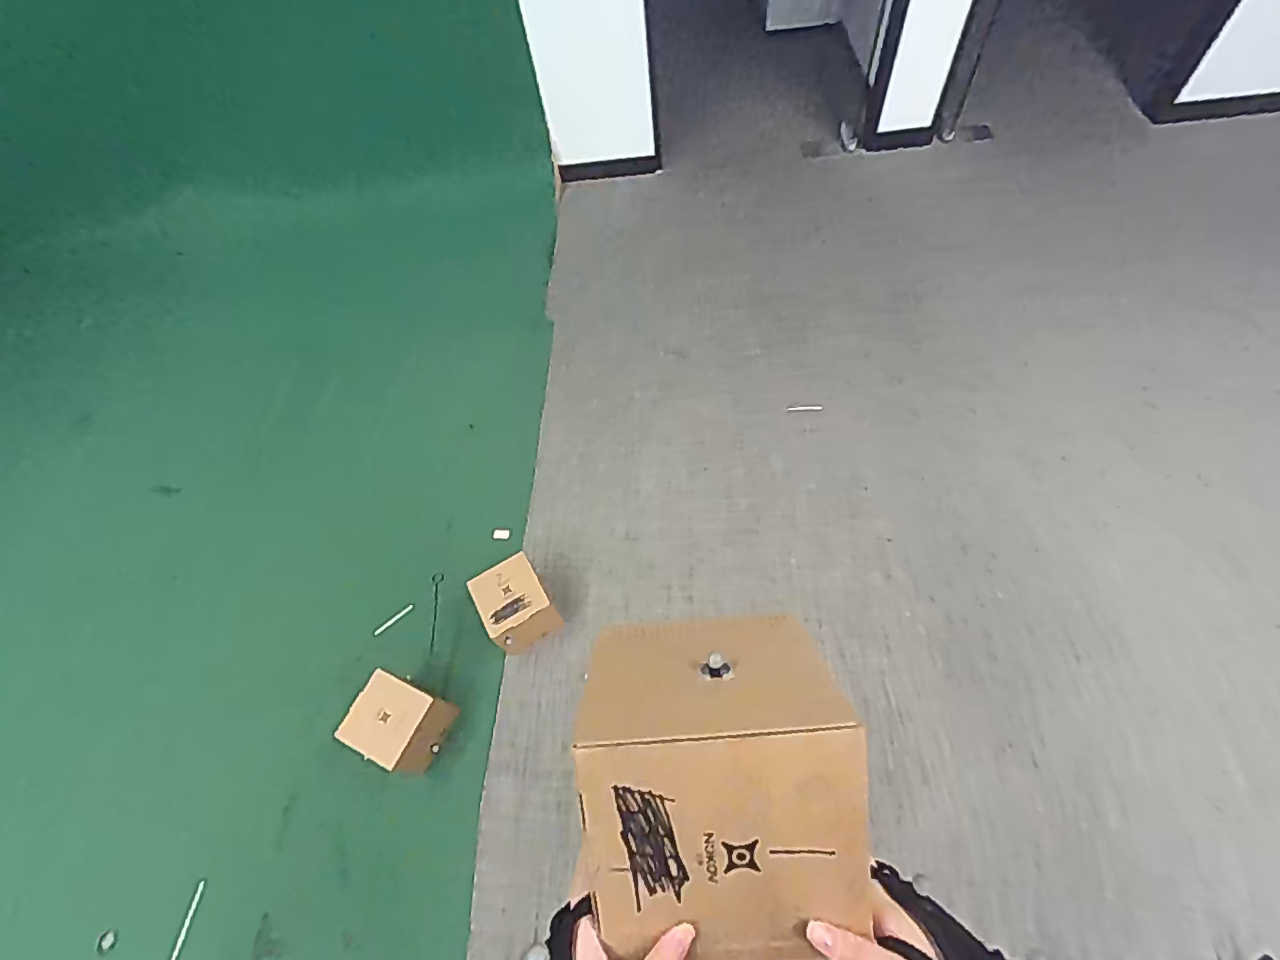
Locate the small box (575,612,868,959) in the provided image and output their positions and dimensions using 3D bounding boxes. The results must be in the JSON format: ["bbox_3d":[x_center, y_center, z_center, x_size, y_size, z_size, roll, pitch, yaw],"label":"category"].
[{"bbox_3d":[0.055,0.214,0.417,0.179,0.176,0.168,-5,99,2],"label":"small box"}]

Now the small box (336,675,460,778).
[{"bbox_3d":[-0.574,0.600,1.305,0.179,0.176,0.168,19,63,18],"label":"small box"}]
